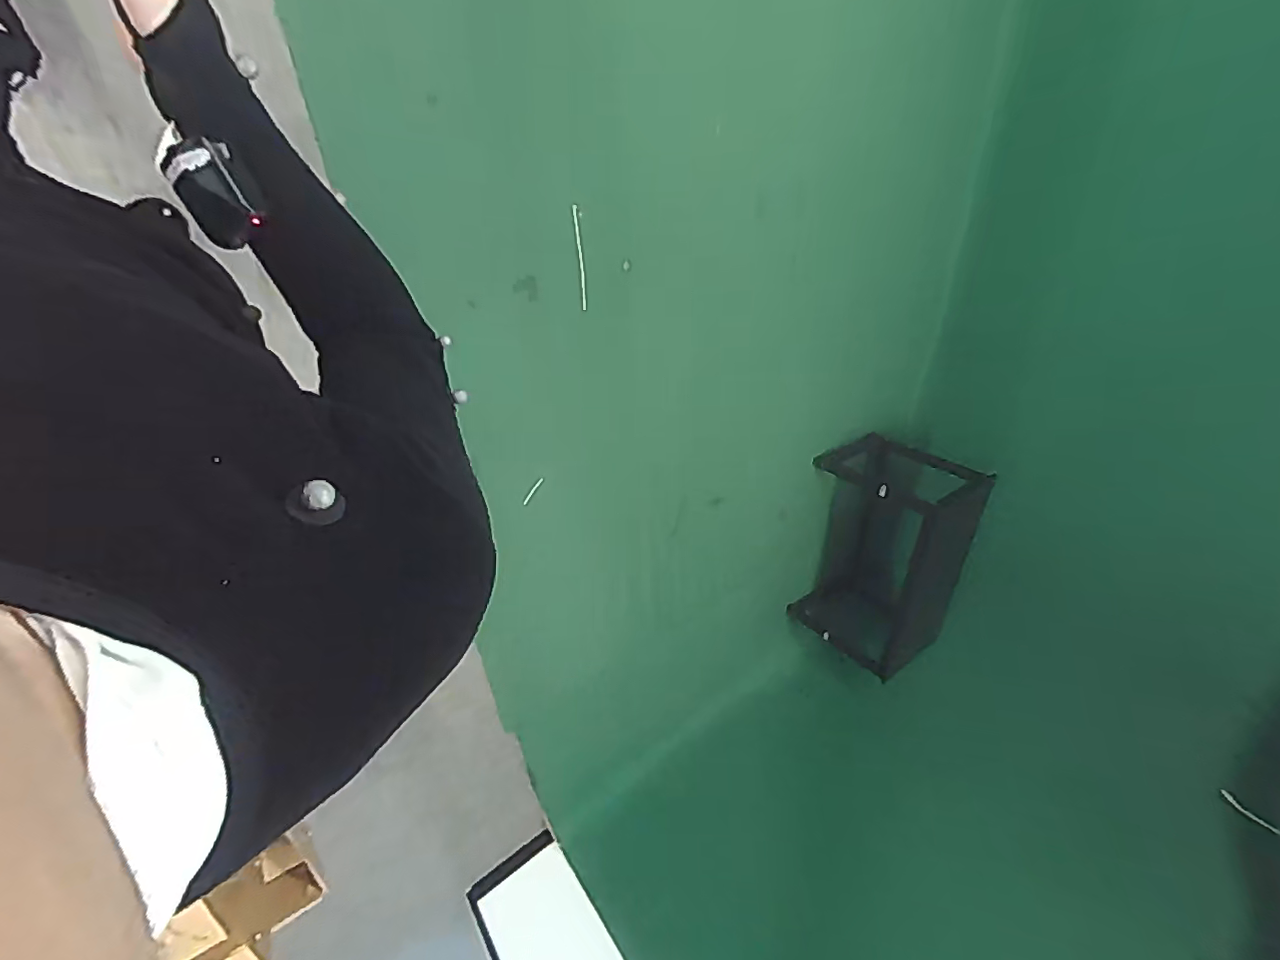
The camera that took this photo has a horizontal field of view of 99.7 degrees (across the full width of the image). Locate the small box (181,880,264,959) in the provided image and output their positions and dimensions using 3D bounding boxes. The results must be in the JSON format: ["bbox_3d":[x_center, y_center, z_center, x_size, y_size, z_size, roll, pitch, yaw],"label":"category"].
[{"bbox_3d":[-0.928,1.014,1.157,0.168,0.176,0.179,-21,124,-31],"label":"small box"}]

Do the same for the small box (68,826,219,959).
[{"bbox_3d":[-0.932,0.806,1.028,0.168,0.176,0.179,-18,125,-32],"label":"small box"}]
